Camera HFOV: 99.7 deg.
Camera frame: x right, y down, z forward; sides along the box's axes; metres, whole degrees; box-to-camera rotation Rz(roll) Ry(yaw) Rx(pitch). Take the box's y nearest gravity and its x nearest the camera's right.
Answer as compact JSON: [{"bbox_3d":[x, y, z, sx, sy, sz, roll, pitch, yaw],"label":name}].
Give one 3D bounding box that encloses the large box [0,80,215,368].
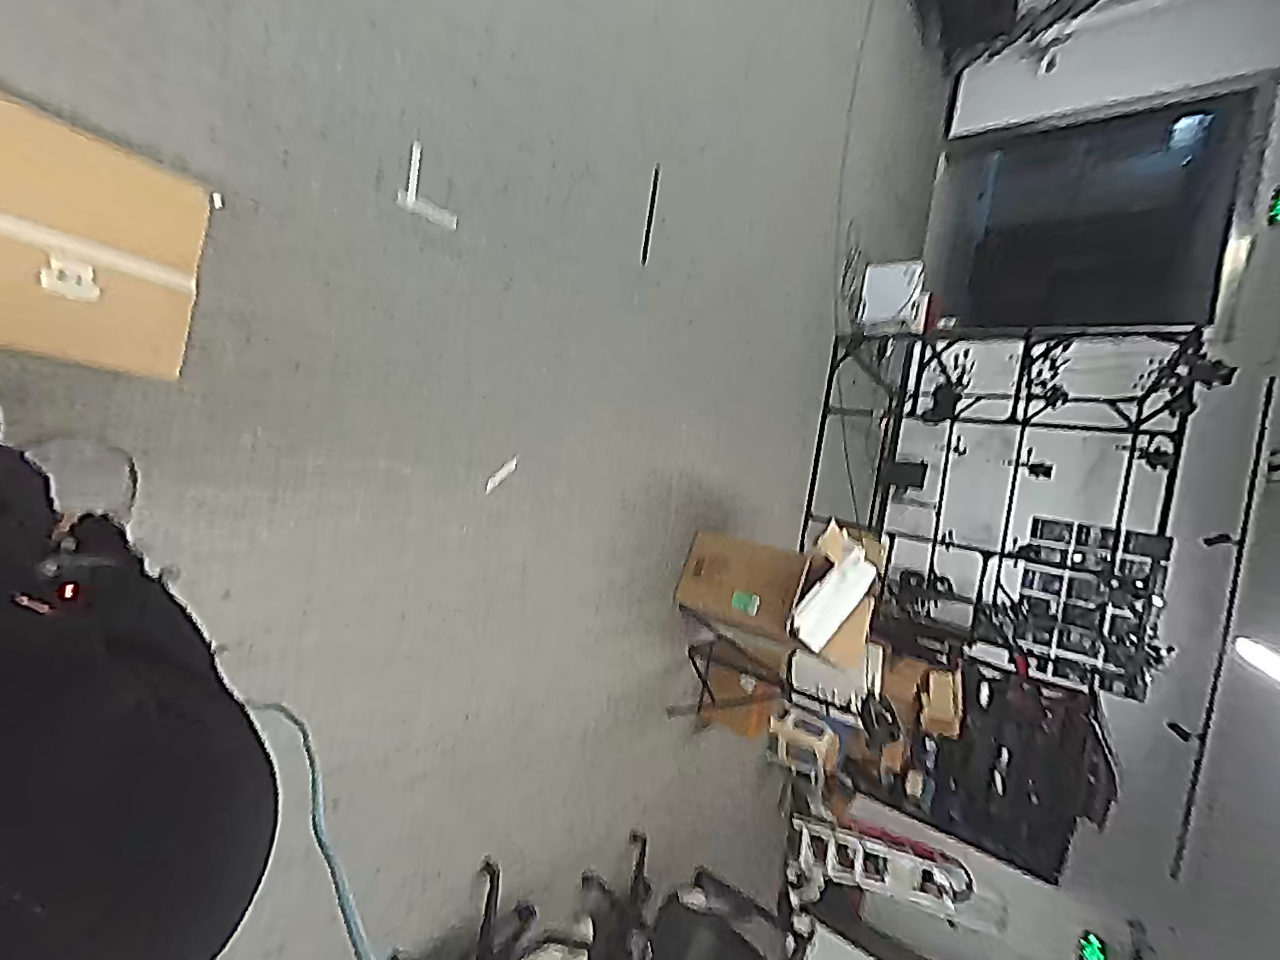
[{"bbox_3d":[-0.927,-0.364,0.773,0.408,0.320,0.320,11,90,-55],"label":"large box"}]
